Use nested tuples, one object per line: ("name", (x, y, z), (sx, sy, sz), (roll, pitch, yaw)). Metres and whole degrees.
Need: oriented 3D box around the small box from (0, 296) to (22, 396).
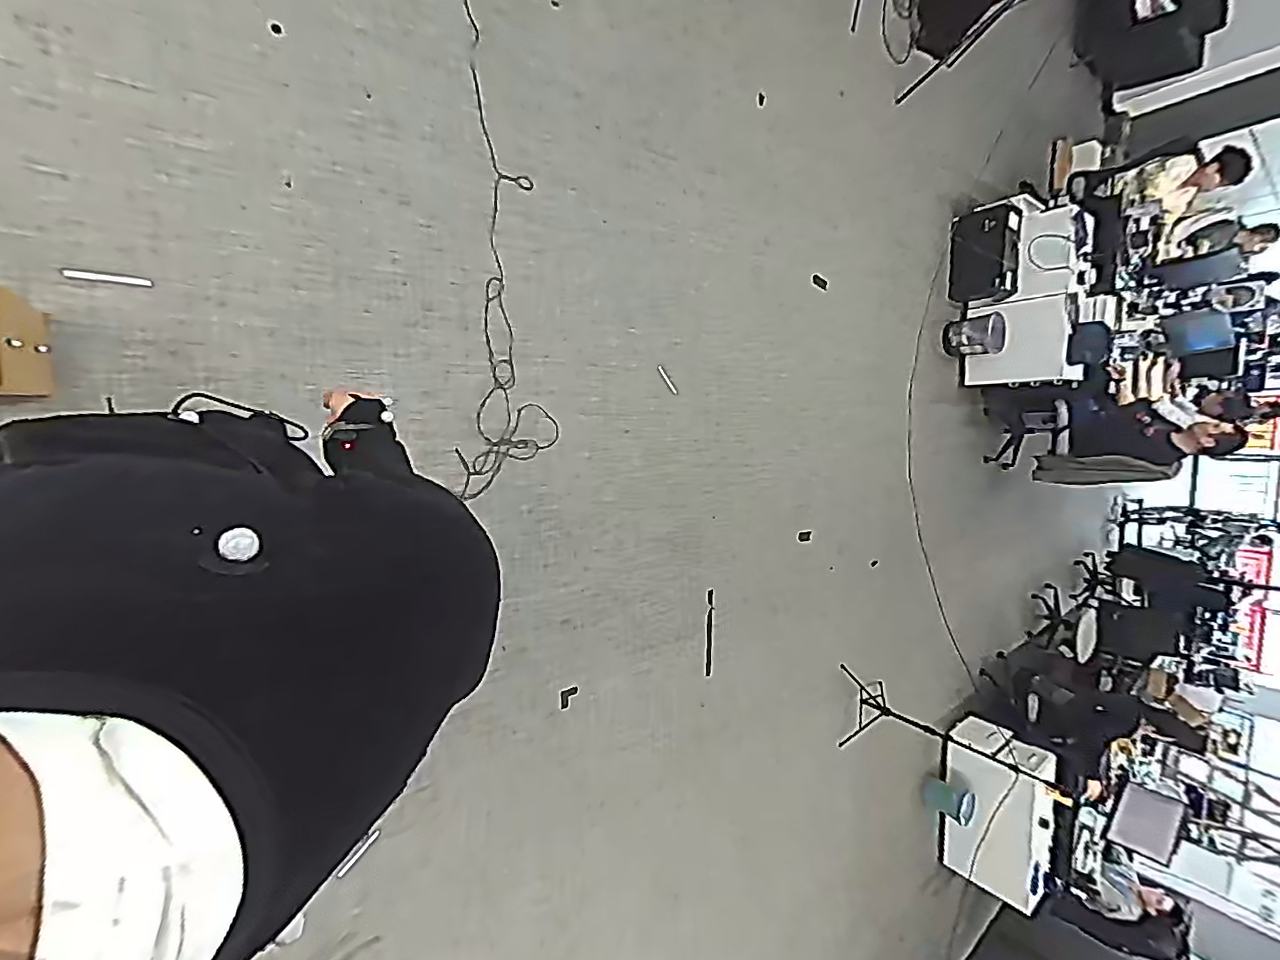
("small box", (-1.161, -0.233, 0.884), (0.168, 0.176, 0.179), (-4, 97, -37))
